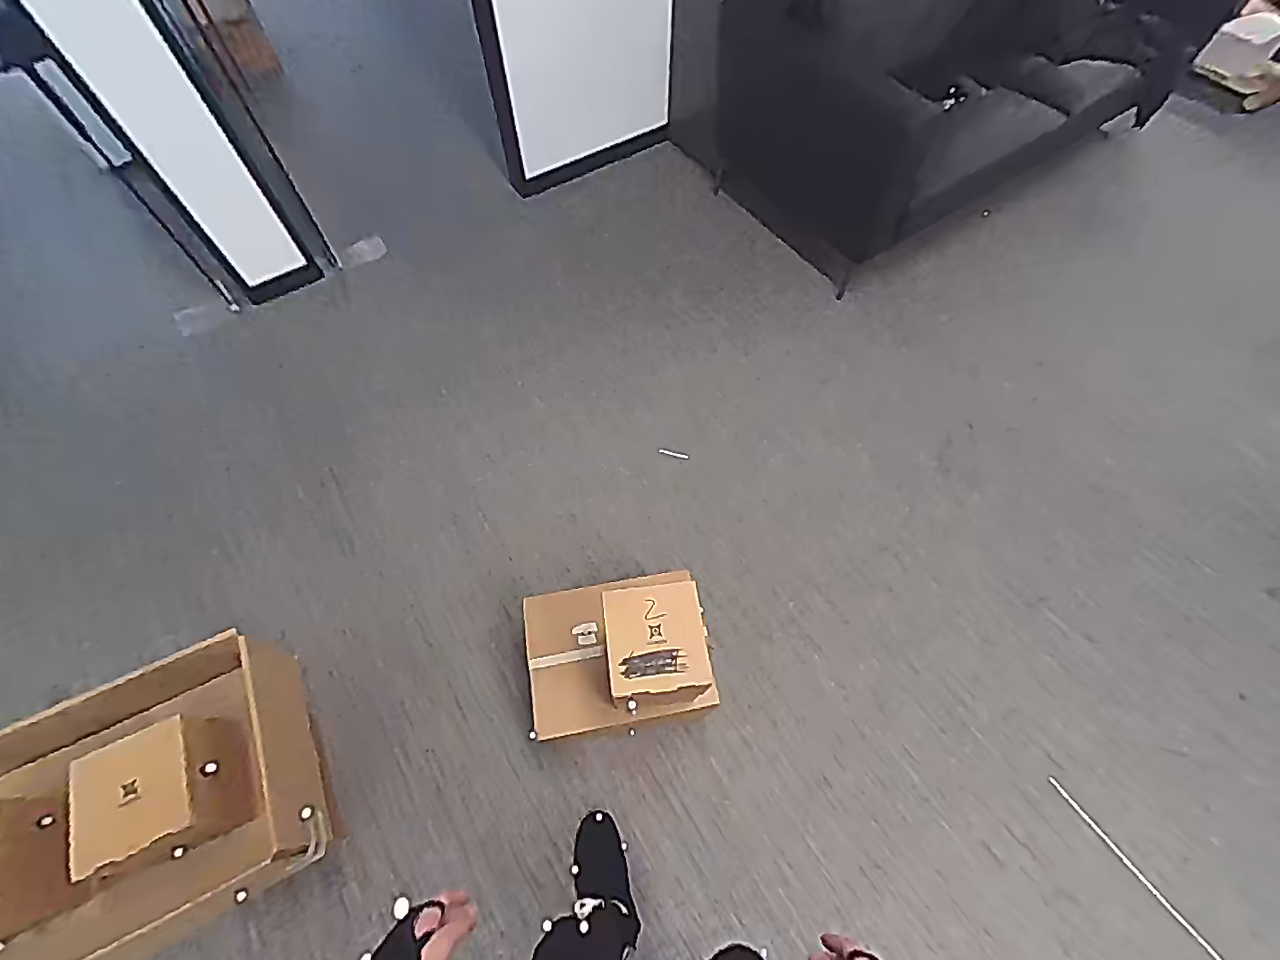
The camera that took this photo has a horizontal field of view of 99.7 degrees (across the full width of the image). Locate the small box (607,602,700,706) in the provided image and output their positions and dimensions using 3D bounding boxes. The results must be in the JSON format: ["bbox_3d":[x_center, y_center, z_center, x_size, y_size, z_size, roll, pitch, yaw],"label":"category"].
[{"bbox_3d":[0.024,0.364,1.116,0.168,0.176,0.179,-6,63,-4],"label":"small box"}]

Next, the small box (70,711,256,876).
[{"bbox_3d":[-0.786,0.514,0.904,0.168,0.176,0.179,-23,66,-13],"label":"small box"}]

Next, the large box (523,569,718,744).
[{"bbox_3d":[-0.051,0.449,1.348,0.408,0.320,0.320,-10,62,-5],"label":"large box"}]
